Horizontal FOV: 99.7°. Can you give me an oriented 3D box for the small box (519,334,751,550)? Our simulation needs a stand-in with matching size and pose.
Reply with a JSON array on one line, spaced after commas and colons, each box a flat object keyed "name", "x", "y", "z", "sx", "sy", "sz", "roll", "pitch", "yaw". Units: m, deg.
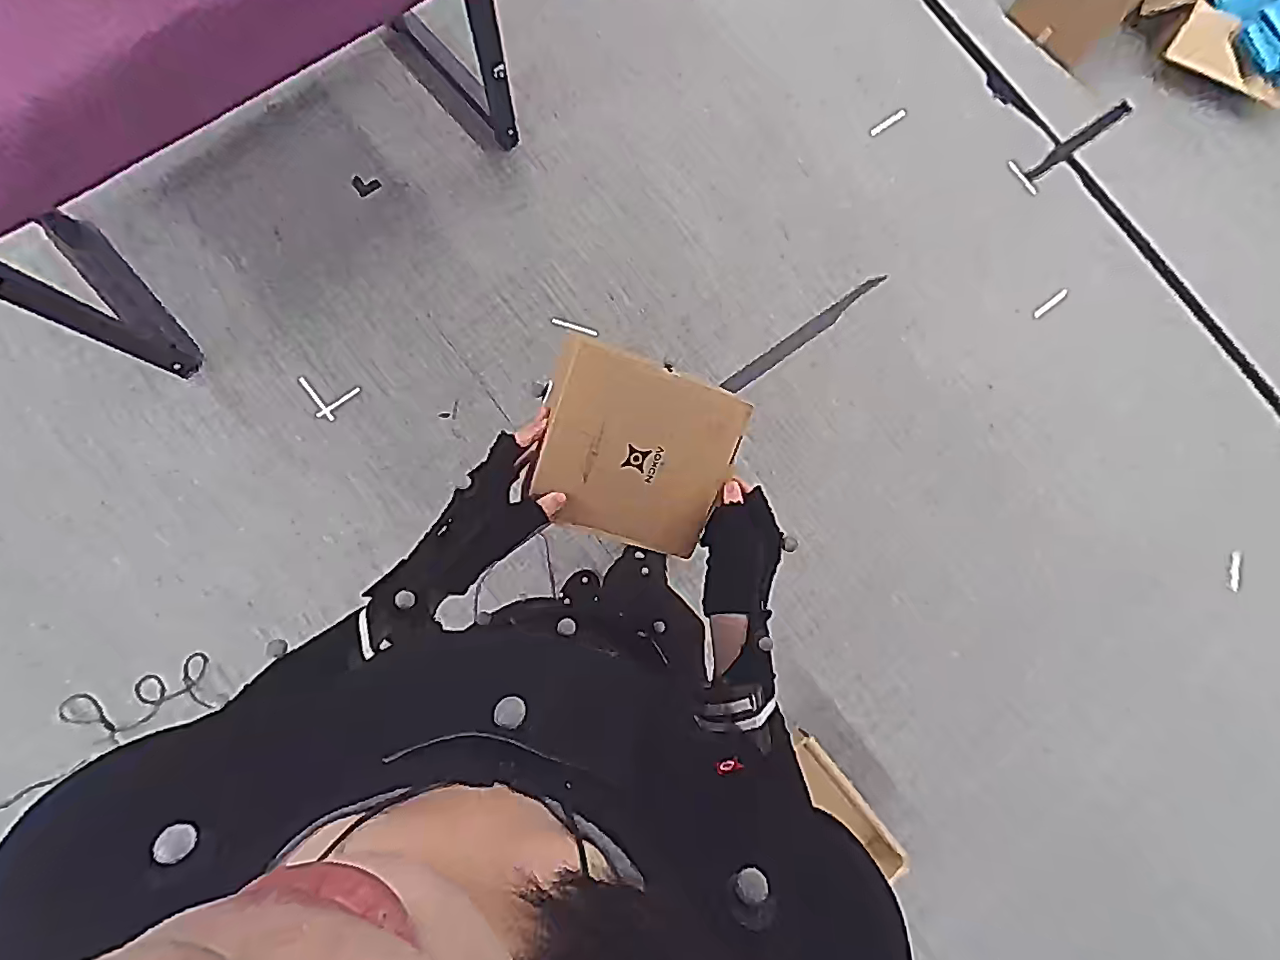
[{"name": "small box", "x": -0.018, "y": -0.049, "z": 0.562, "sx": 0.179, "sy": 0.176, "sz": 0.168, "roll": 16, "pitch": 102, "yaw": -15}]
